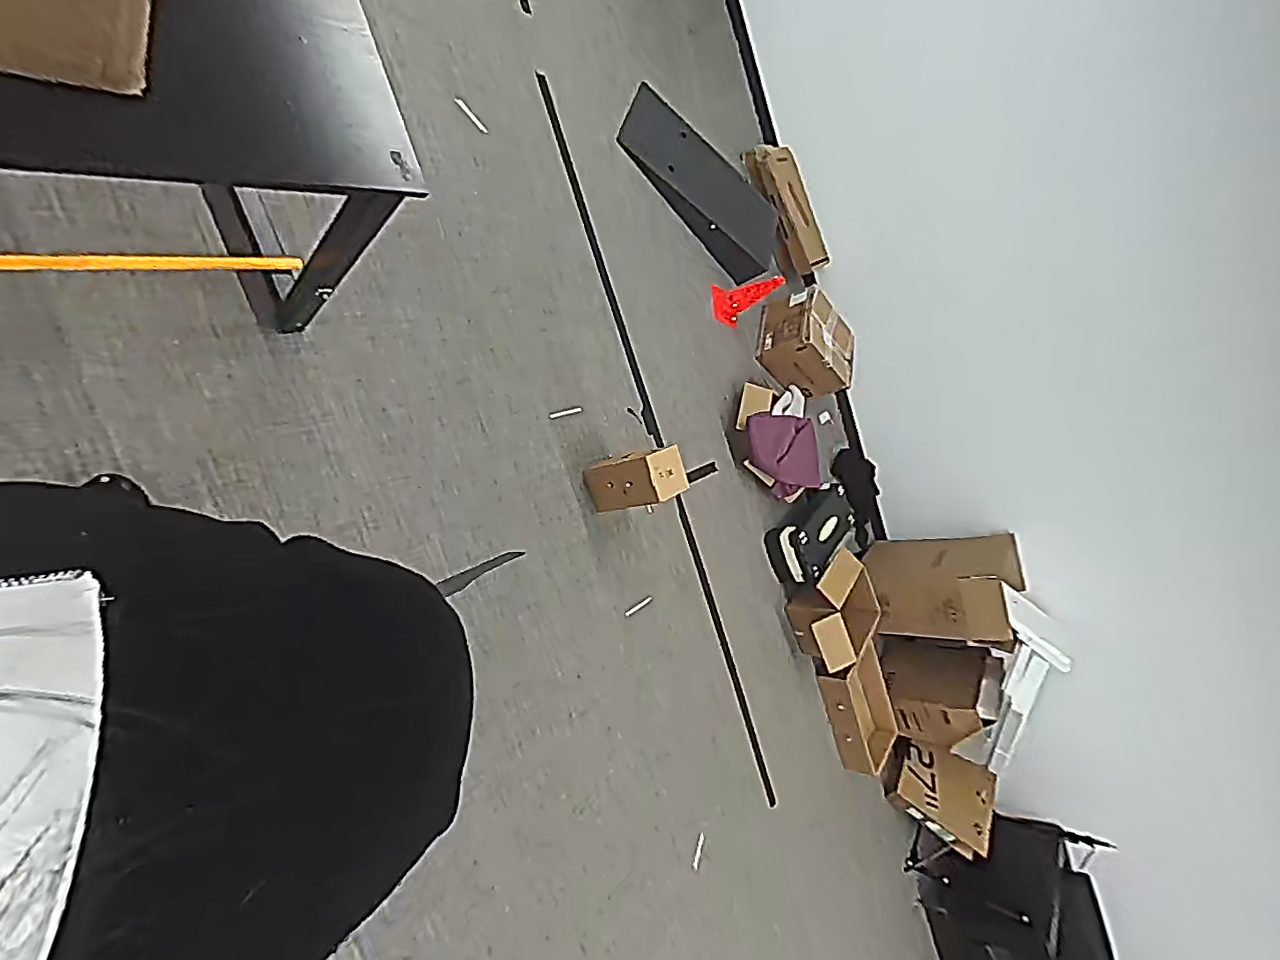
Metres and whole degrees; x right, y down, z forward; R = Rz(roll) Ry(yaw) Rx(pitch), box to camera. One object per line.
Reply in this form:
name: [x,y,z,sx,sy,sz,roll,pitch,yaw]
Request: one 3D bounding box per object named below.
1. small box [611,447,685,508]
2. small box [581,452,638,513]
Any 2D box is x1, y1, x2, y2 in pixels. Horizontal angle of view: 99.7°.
small box: [0.027,-0.008,1.908,0.179,0.176,0.168,-24,99,-45]
small box: [-0.092,0.012,2.020,0.168,0.176,0.179,-29,103,-45]
